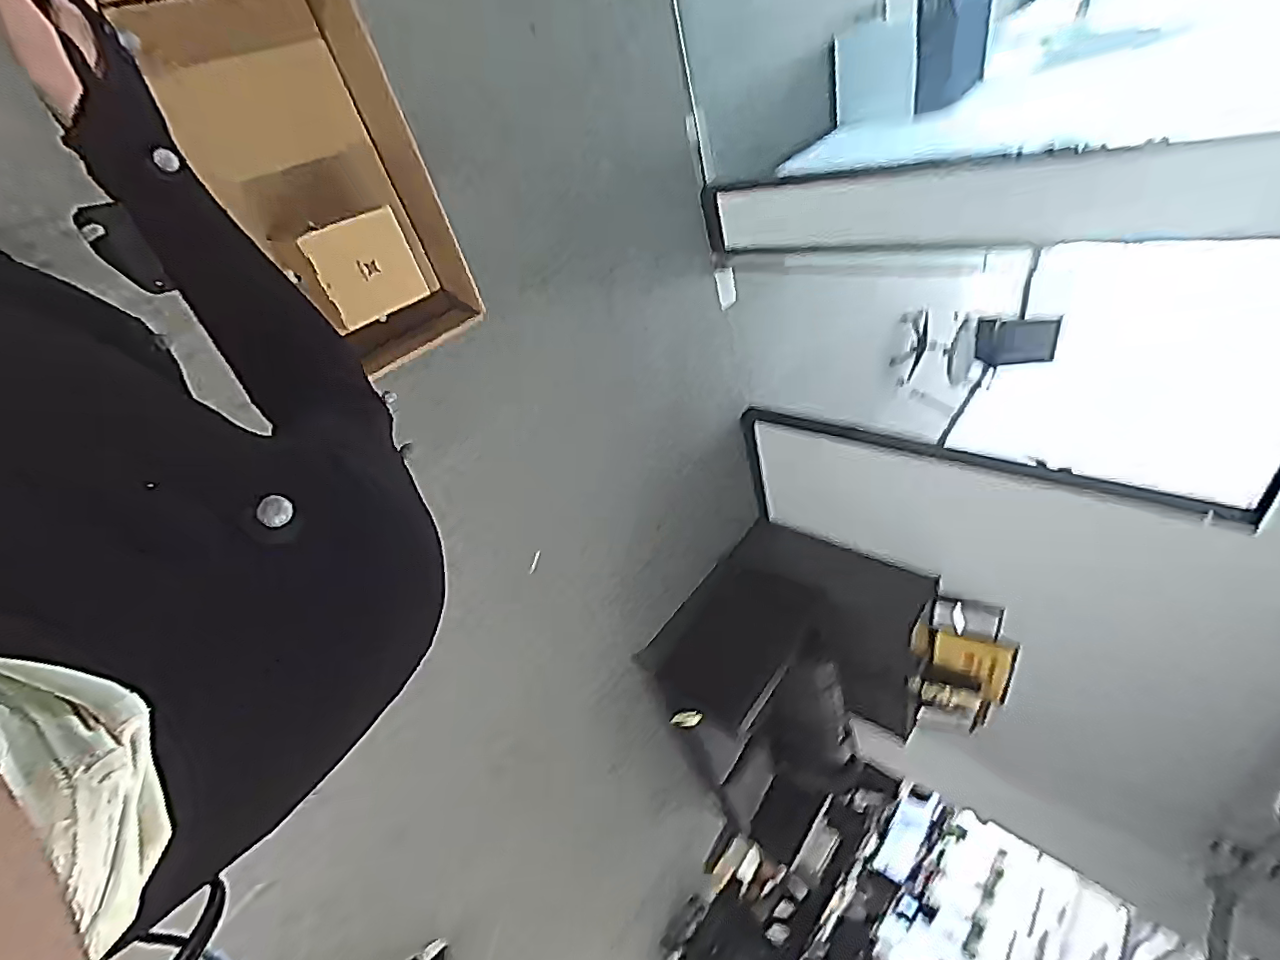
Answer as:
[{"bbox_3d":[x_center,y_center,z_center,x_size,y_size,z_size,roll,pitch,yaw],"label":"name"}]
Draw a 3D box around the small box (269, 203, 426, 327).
[{"bbox_3d":[-0.547,-0.409,1.015,0.179,0.176,0.168,-41,134,-30],"label":"small box"}]
